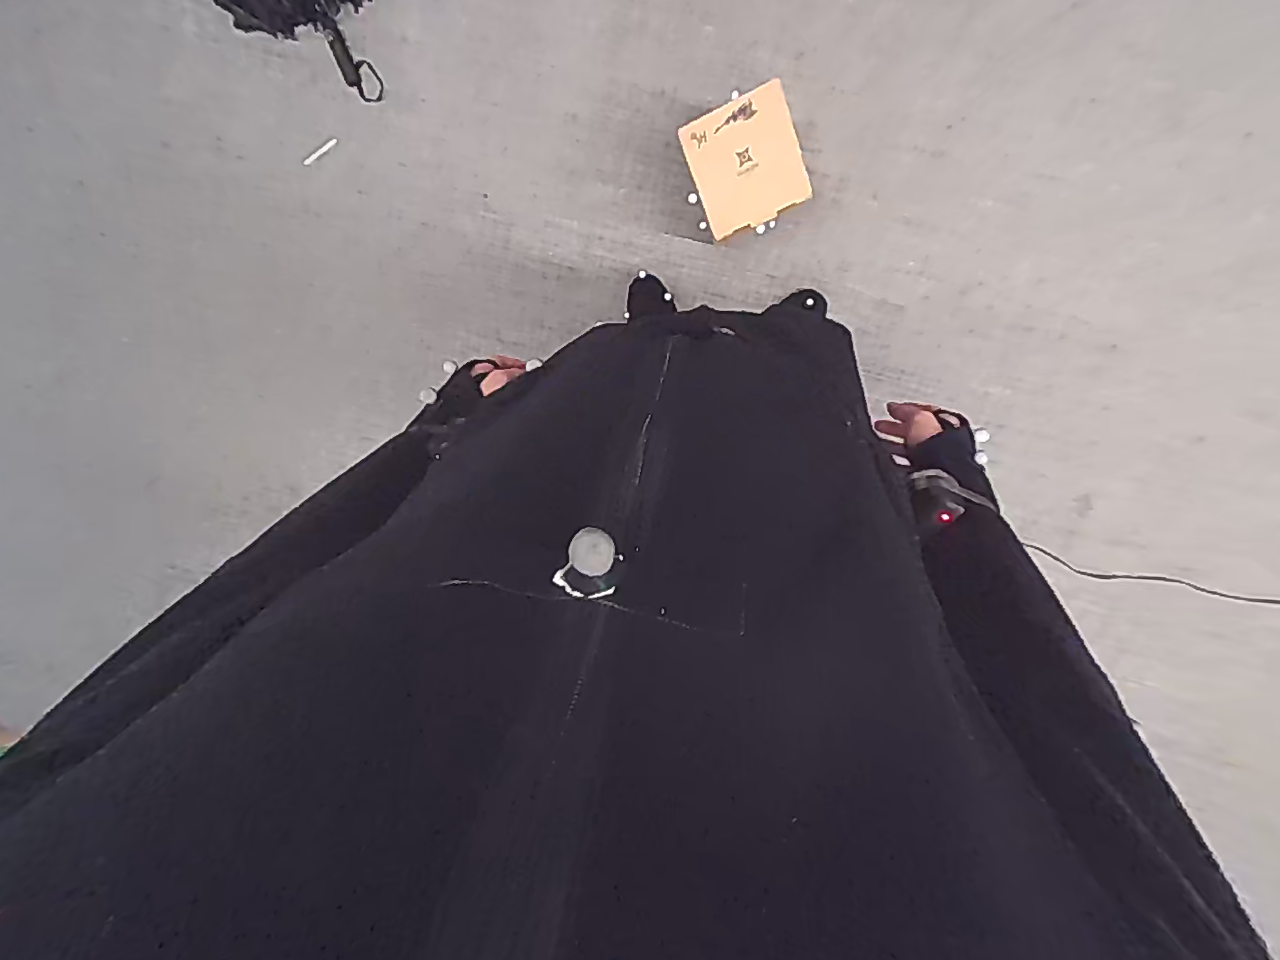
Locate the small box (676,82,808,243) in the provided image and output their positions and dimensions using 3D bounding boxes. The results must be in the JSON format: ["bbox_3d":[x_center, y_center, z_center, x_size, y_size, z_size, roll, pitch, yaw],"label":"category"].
[{"bbox_3d":[0.172,-0.527,0.924,0.168,0.176,0.179,-20,109,14],"label":"small box"}]
